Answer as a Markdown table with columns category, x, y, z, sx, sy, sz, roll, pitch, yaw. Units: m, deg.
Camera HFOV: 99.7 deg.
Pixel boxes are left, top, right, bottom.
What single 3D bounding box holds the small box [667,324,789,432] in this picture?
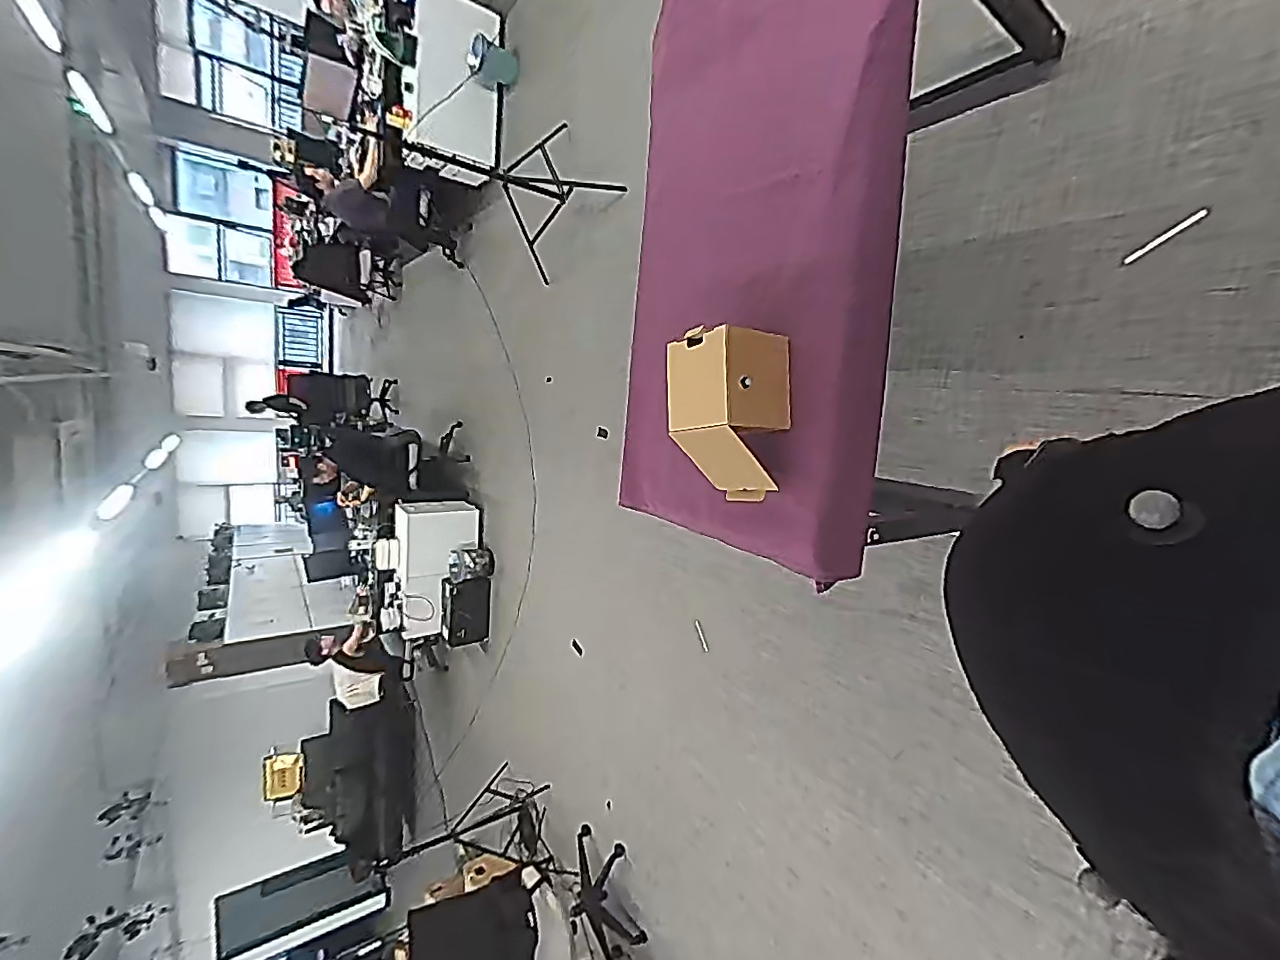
| category | x | y | z | sx | sy | sz | roll | pitch | yaw |
| --- | --- | --- | --- | --- | --- | --- | --- | --- | --- |
| small box | 0.167 | -0.183 | 1.026 | 0.168 | 0.176 | 0.179 | -1 | 91 | 54 |
